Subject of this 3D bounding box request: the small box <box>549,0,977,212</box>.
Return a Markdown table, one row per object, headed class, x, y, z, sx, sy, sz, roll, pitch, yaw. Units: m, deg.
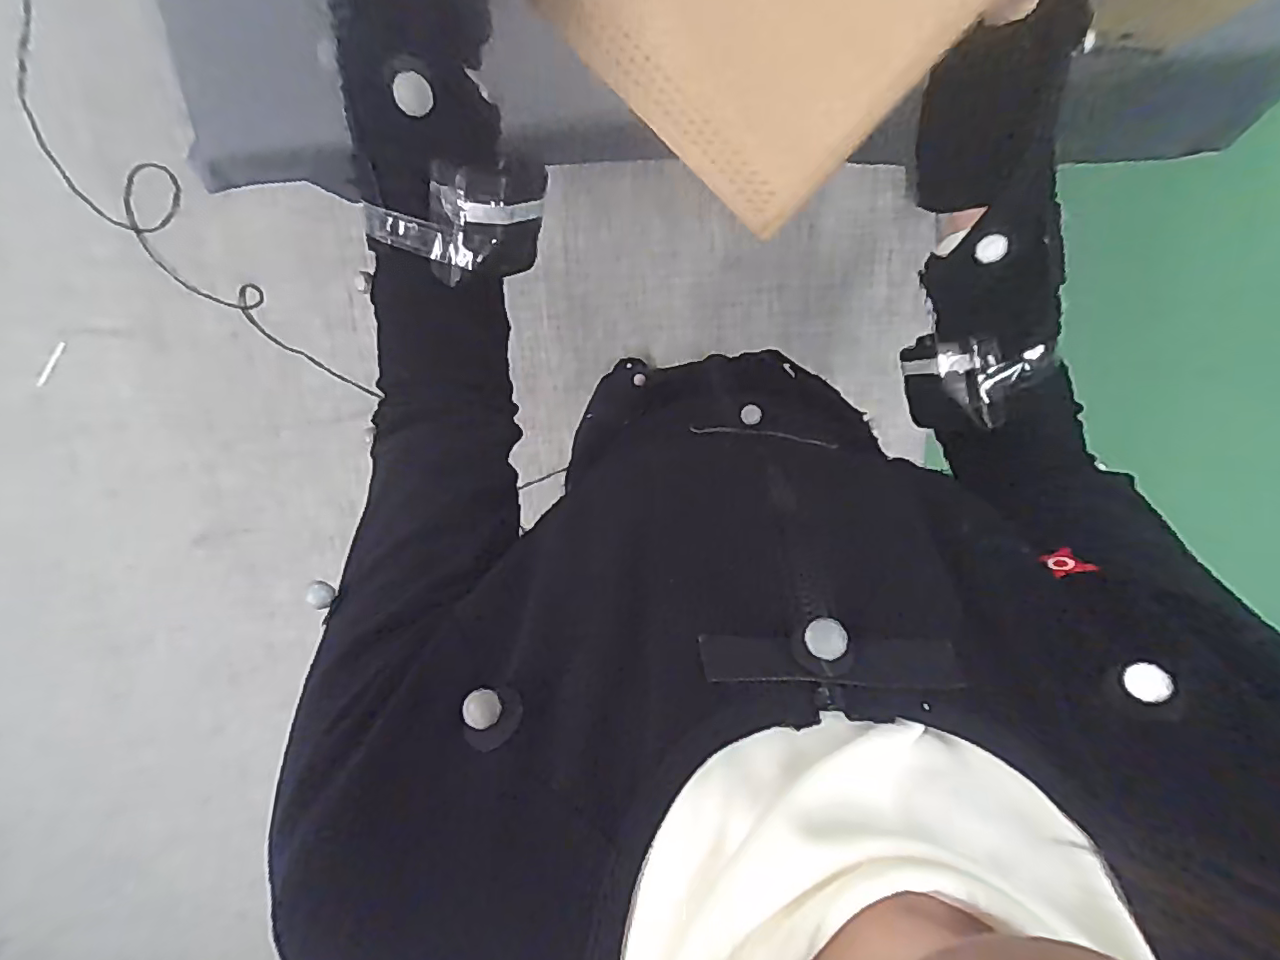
| class | x | y | z | sx | sy | sz | roll | pitch | yaw |
| --- | --- | --- | --- | --- | --- | --- | --- | --- | --- |
| small box | 0.075 | -0.260 | 0.224 | 0.179 | 0.176 | 0.168 | 40 | 70 | -7 |
